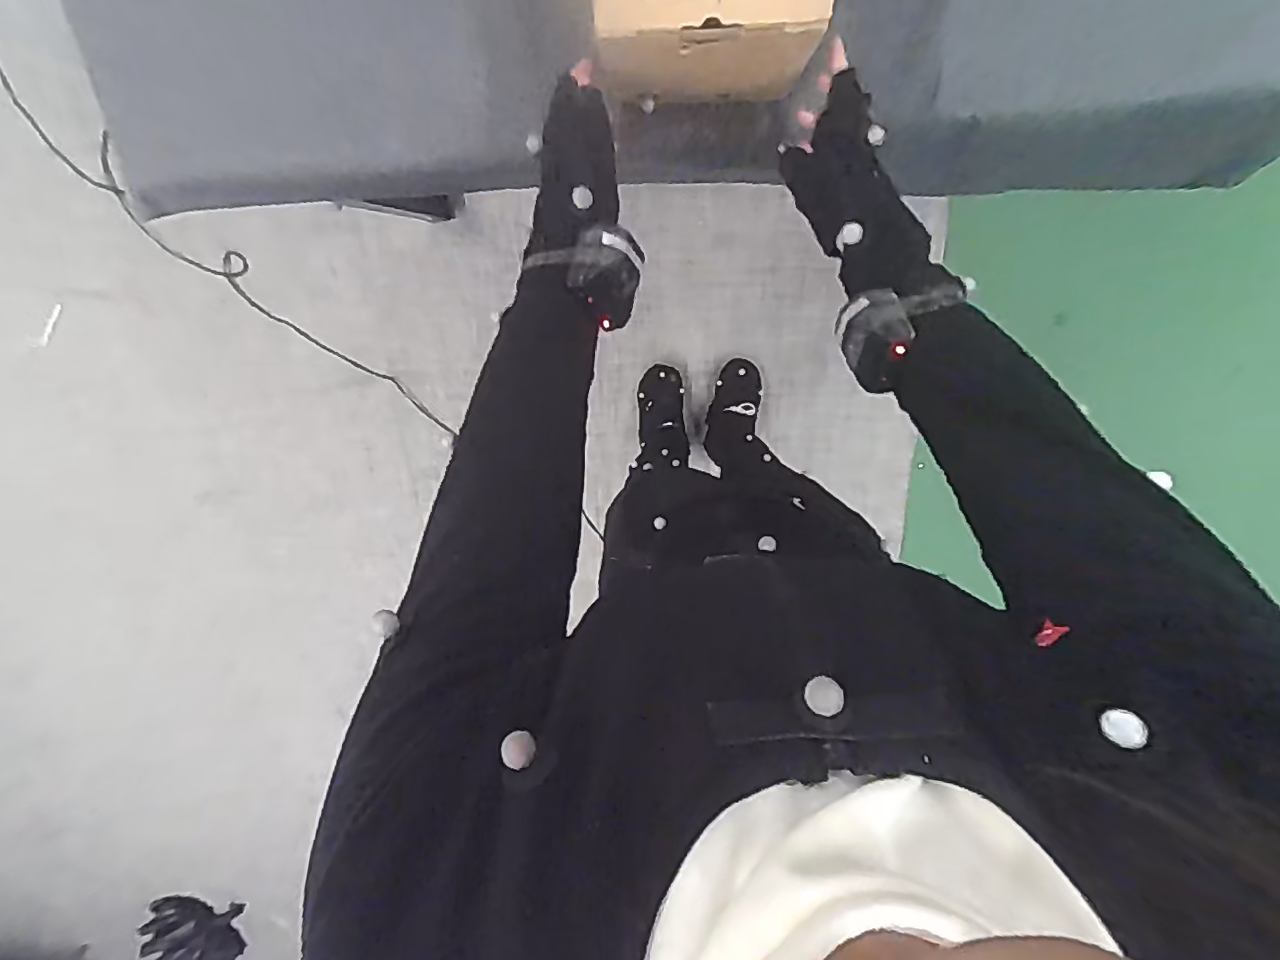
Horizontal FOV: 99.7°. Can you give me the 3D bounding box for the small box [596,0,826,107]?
[{"bbox_3d":[0.056,-0.424,0.436,0.168,0.176,0.179,2,109,2],"label":"small box"}]
